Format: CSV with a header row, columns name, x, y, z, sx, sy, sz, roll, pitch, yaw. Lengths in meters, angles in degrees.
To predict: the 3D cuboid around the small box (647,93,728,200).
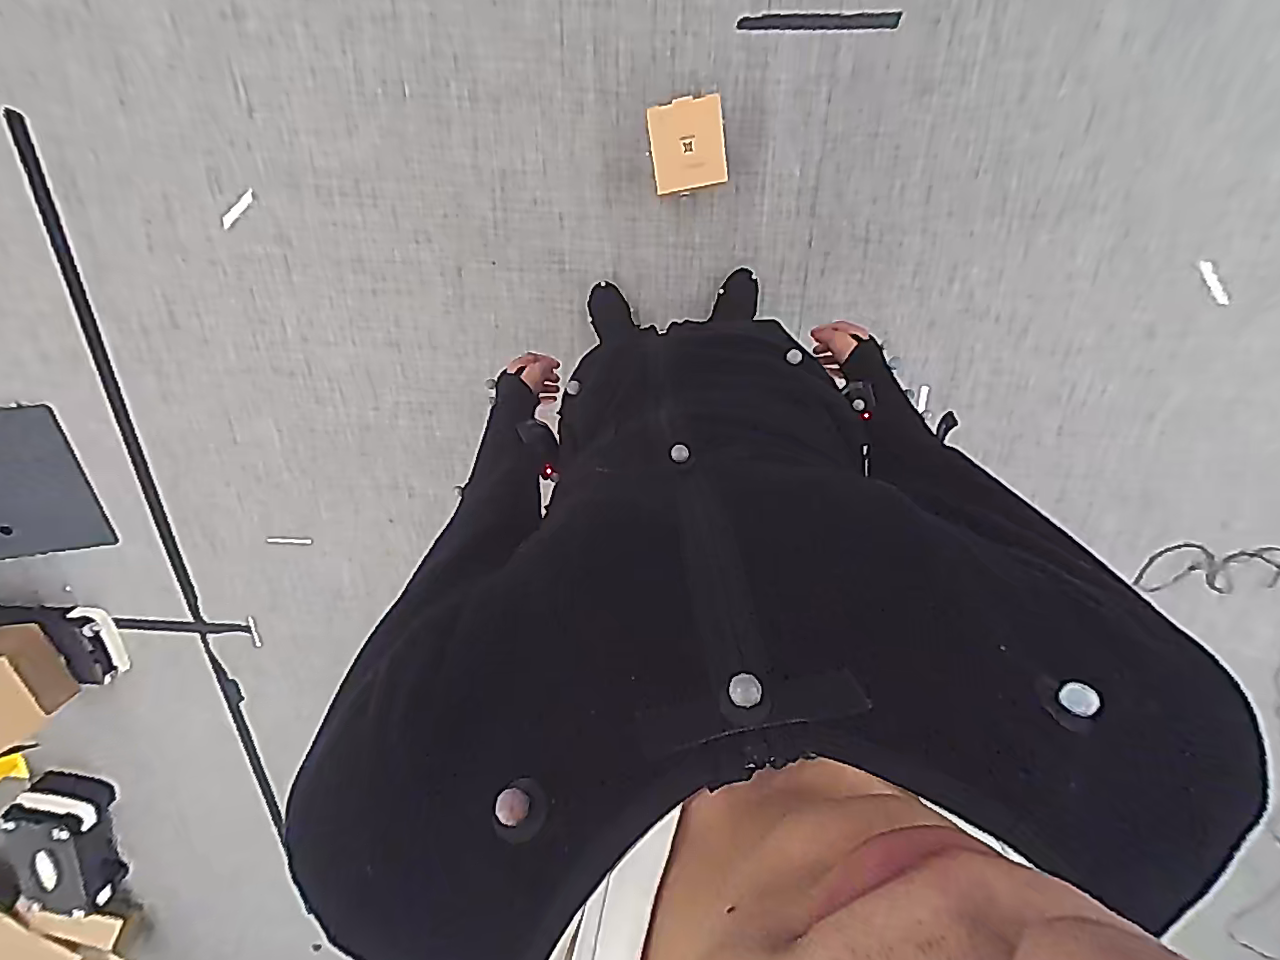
name,x,y,z,sx,sy,sz,roll,pitch,yaw
small box,0.109,-0.779,1.280,0.168,0.176,0.179,-8,113,6
